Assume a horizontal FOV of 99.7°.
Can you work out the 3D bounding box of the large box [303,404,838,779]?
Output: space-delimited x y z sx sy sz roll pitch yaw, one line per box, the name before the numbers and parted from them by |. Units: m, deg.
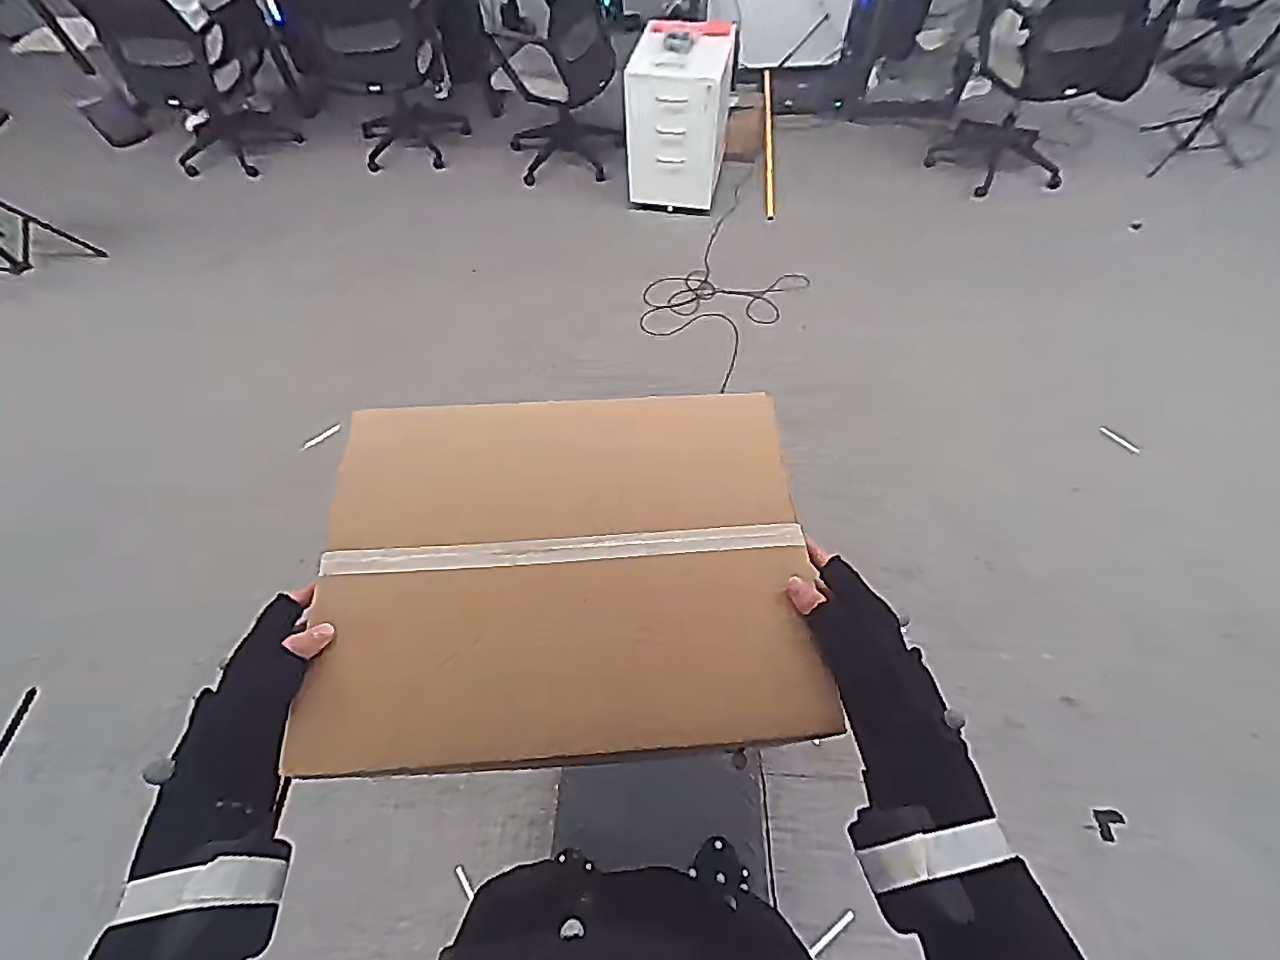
large box | -0.059 0.136 0.598 0.408 0.320 0.320 -2 61 -3
